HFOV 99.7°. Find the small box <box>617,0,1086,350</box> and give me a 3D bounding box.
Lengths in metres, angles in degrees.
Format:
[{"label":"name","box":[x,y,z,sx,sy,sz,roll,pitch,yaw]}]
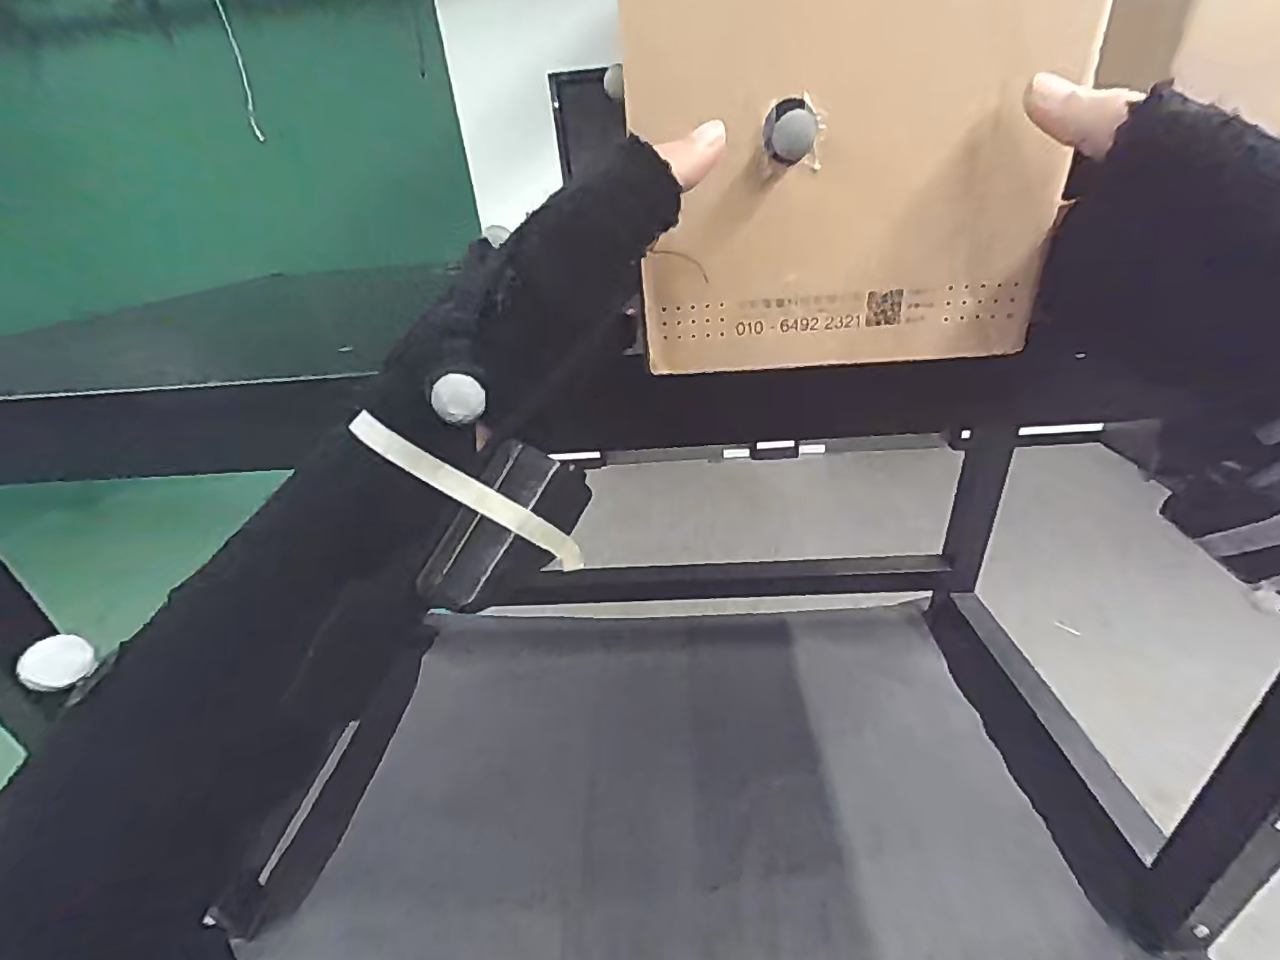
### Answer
[{"label":"small box","box":[0.084,-0.167,0.274,0.168,0.176,0.179,-2,28,6]}]
